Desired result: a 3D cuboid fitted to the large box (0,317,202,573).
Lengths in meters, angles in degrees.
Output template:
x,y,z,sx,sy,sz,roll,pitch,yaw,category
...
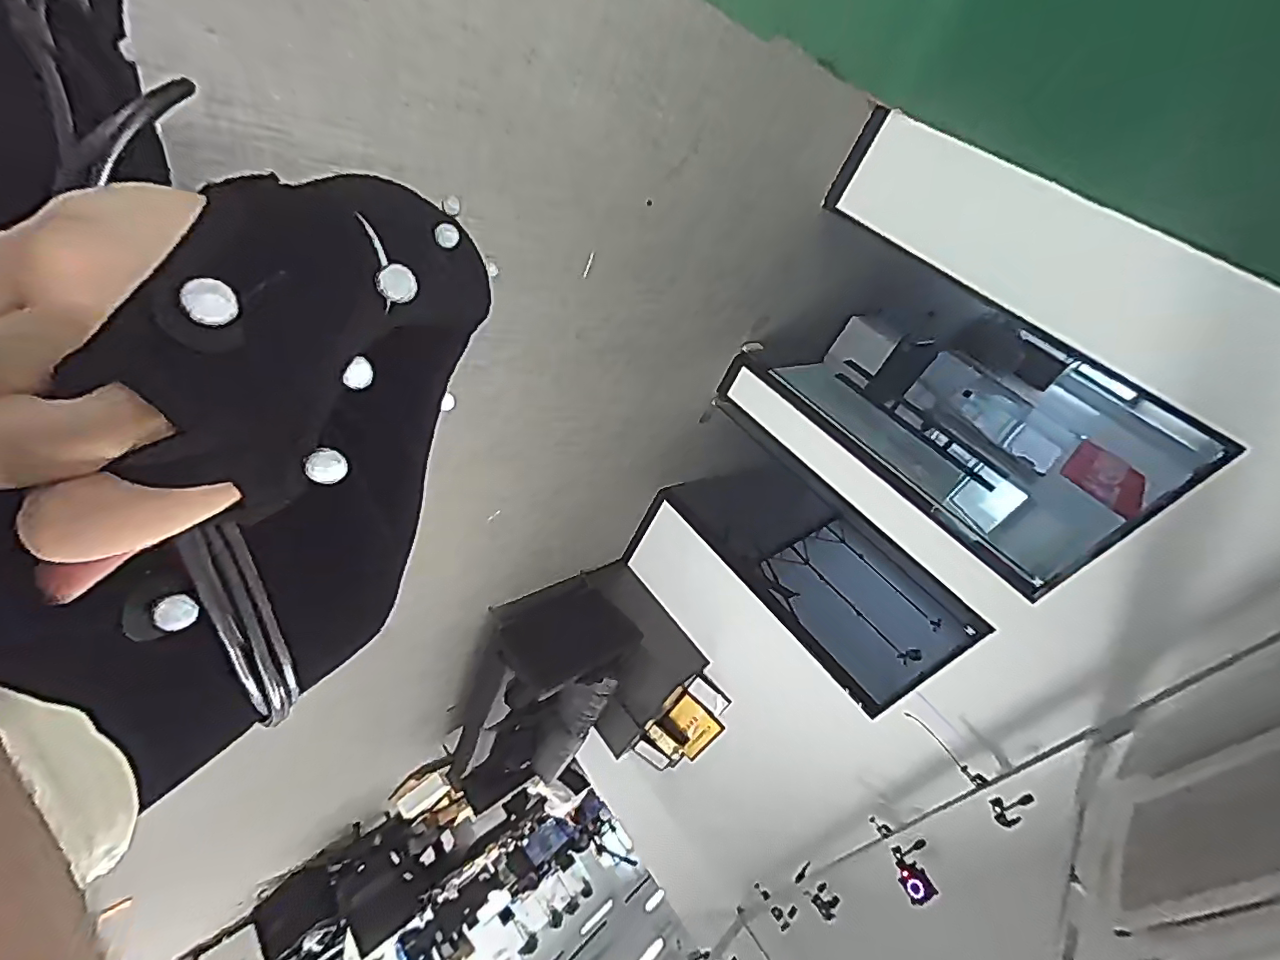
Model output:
x,y,z,sx,sy,sz,roll,pitch,yaw,category
-1.157,-0.084,1.128,0.320,0.320,0.408,-13,143,-47,large box
